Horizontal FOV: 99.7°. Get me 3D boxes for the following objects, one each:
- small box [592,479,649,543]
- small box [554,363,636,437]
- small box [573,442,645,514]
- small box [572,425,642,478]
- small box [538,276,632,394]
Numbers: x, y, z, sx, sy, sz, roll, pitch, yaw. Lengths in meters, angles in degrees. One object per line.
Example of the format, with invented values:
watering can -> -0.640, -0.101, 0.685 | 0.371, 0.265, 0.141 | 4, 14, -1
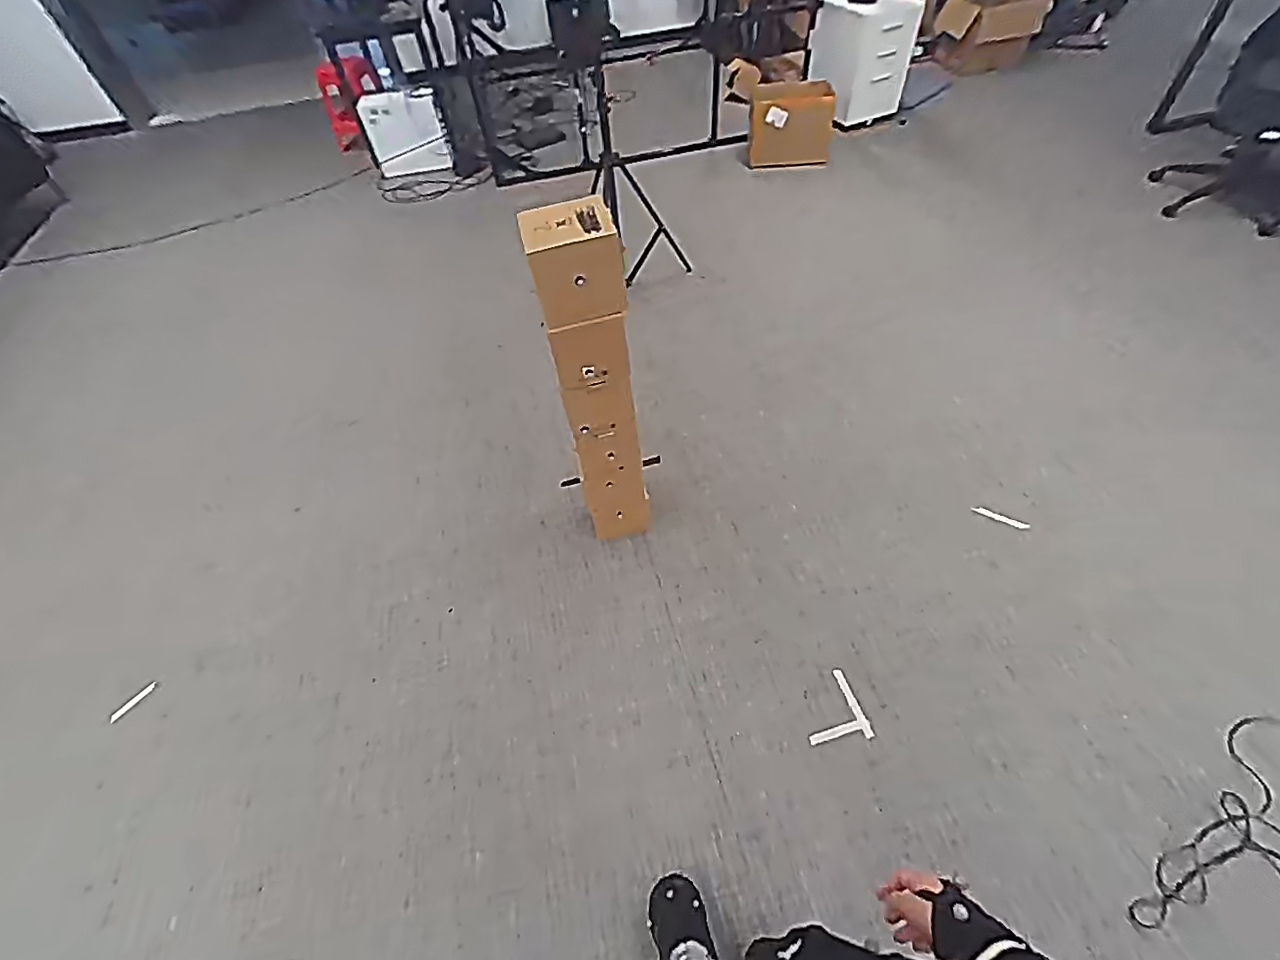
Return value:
small box -> -0.071, 0.077, 1.729 | 0.179, 0.176, 0.168 | -14, 52, -5
small box -> -0.111, -0.224, 1.343 | 0.168, 0.176, 0.179 | -13, 51, -4
small box -> -0.090, -0.019, 1.597 | 0.179, 0.176, 0.168 | -12, 53, -3
small box -> -0.095, -0.123, 1.471 | 0.168, 0.176, 0.179 | -12, 53, -4
small box -> -0.122, -0.324, 1.216 | 0.168, 0.176, 0.179 | -15, 53, -5
